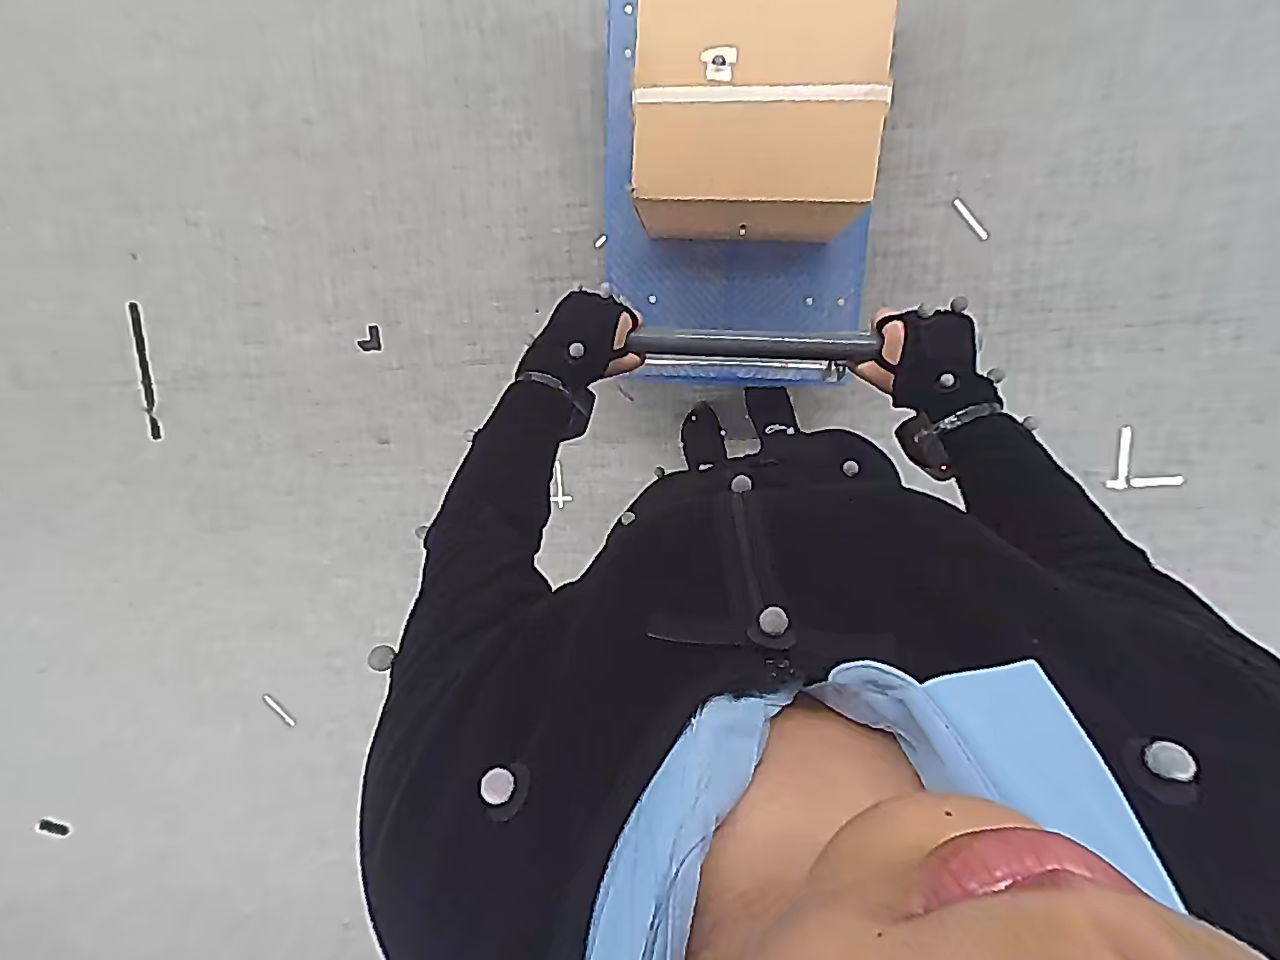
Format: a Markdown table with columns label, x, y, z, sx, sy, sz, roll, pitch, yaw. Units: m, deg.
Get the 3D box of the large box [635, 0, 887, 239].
| label | x | y | z | sx | sy | sz | roll | pitch | yaw |
| --- | --- | --- | --- | --- | --- | --- | --- | --- | --- |
| large box | 0.211 | -0.661 | 1.045 | 0.408 | 0.320 | 0.320 | 4 | 101 | 7 |
